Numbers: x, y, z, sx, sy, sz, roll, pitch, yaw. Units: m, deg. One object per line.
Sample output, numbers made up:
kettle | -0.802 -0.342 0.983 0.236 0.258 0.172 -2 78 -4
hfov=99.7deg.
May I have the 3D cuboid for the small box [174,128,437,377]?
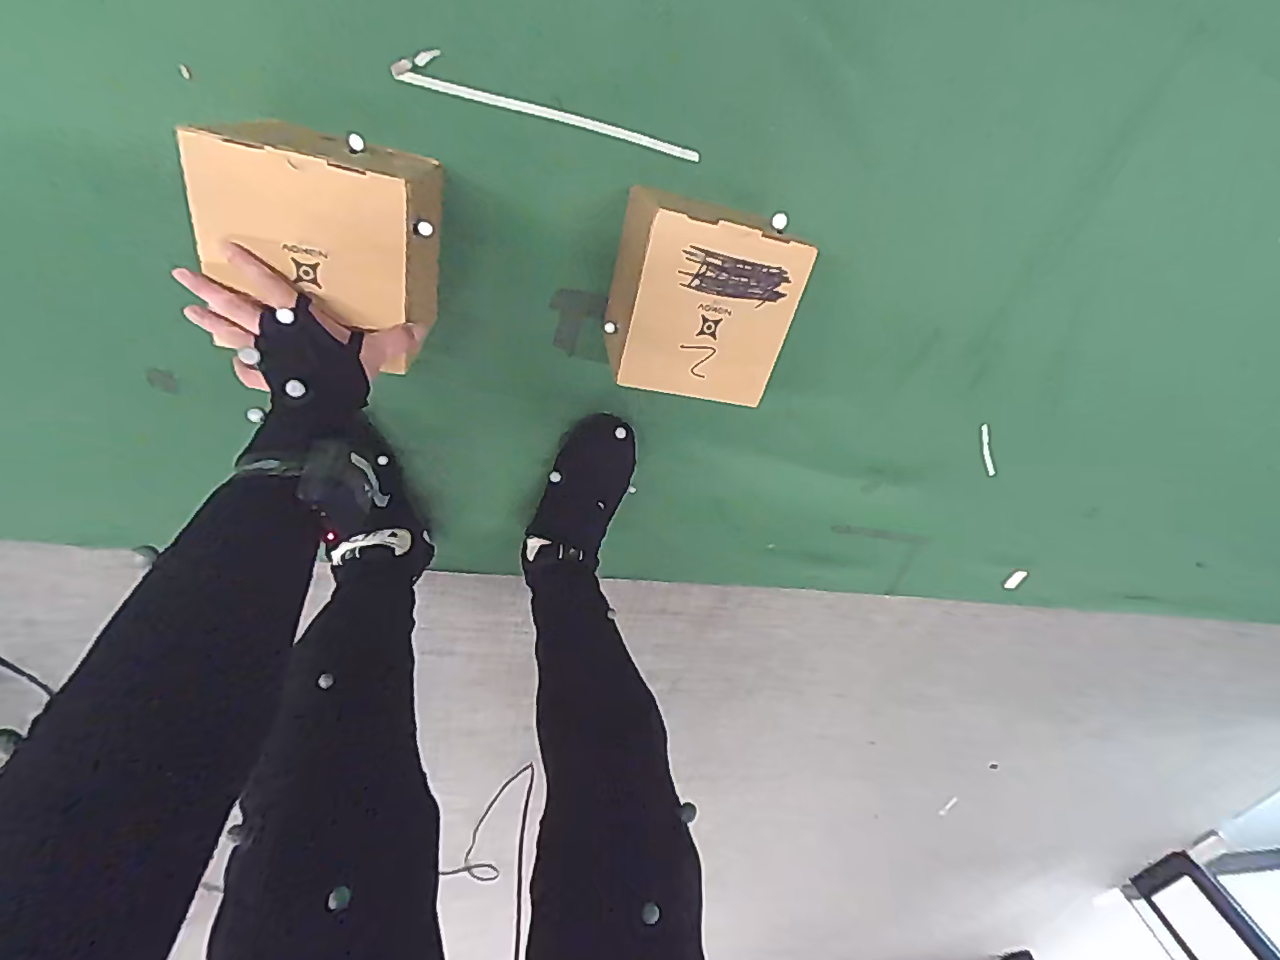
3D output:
small box | -0.303 -0.226 0.535 0.168 0.176 0.179 7 122 -14
